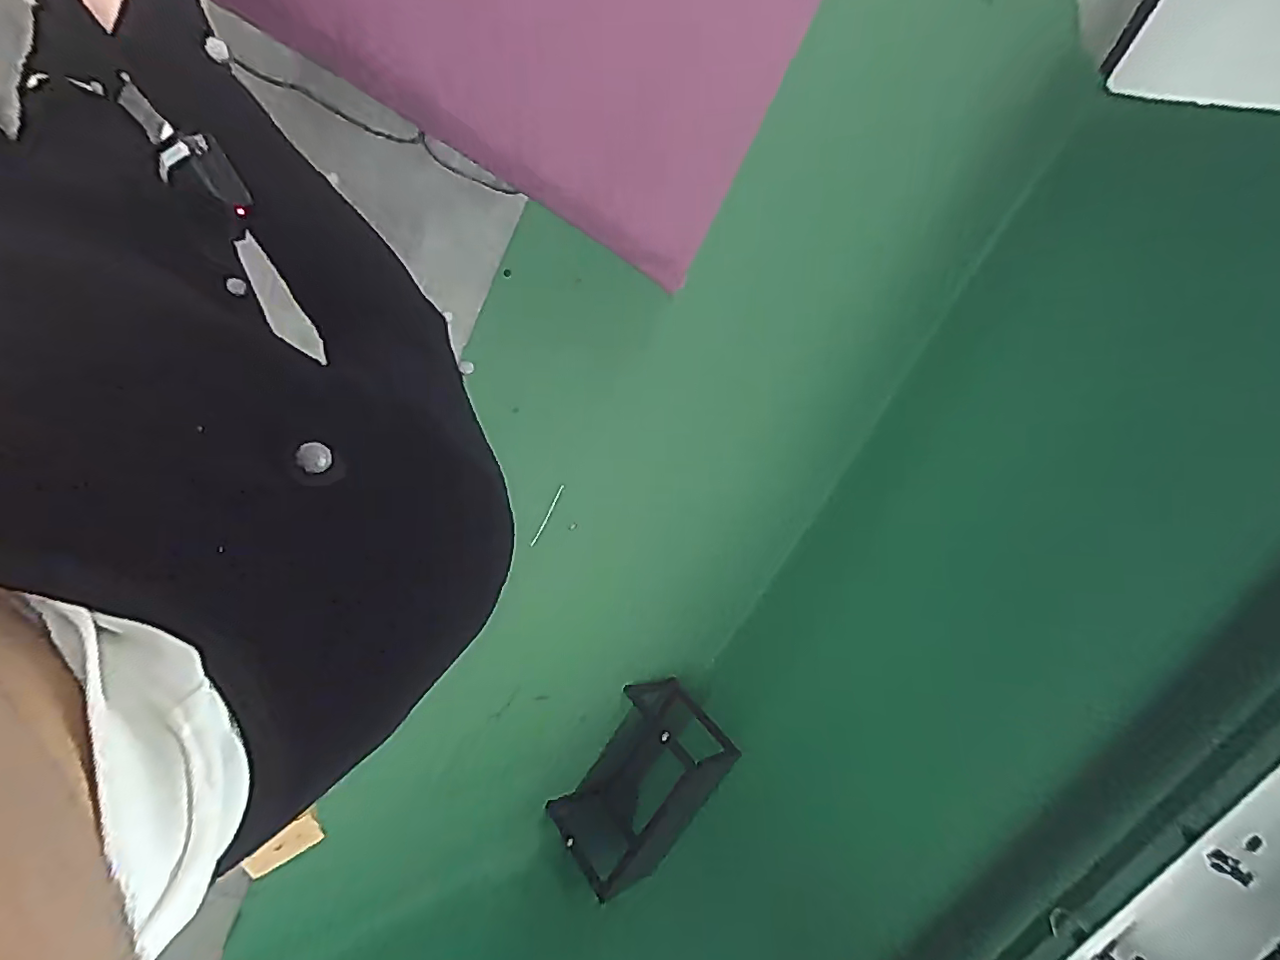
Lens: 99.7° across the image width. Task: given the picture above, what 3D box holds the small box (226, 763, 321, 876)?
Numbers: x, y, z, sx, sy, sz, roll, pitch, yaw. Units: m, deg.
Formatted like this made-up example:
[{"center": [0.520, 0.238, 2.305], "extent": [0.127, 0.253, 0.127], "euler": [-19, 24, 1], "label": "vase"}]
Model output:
[{"center": [-1.019, 0.936, 1.501], "extent": [0.179, 0.176, 0.168], "euler": [-21, 136, -32], "label": "small box"}]

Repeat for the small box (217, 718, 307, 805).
[{"center": [-1.119, 0.851, 1.600], "extent": [0.179, 0.176, 0.168], "euler": [-23, 136, -31], "label": "small box"}]
